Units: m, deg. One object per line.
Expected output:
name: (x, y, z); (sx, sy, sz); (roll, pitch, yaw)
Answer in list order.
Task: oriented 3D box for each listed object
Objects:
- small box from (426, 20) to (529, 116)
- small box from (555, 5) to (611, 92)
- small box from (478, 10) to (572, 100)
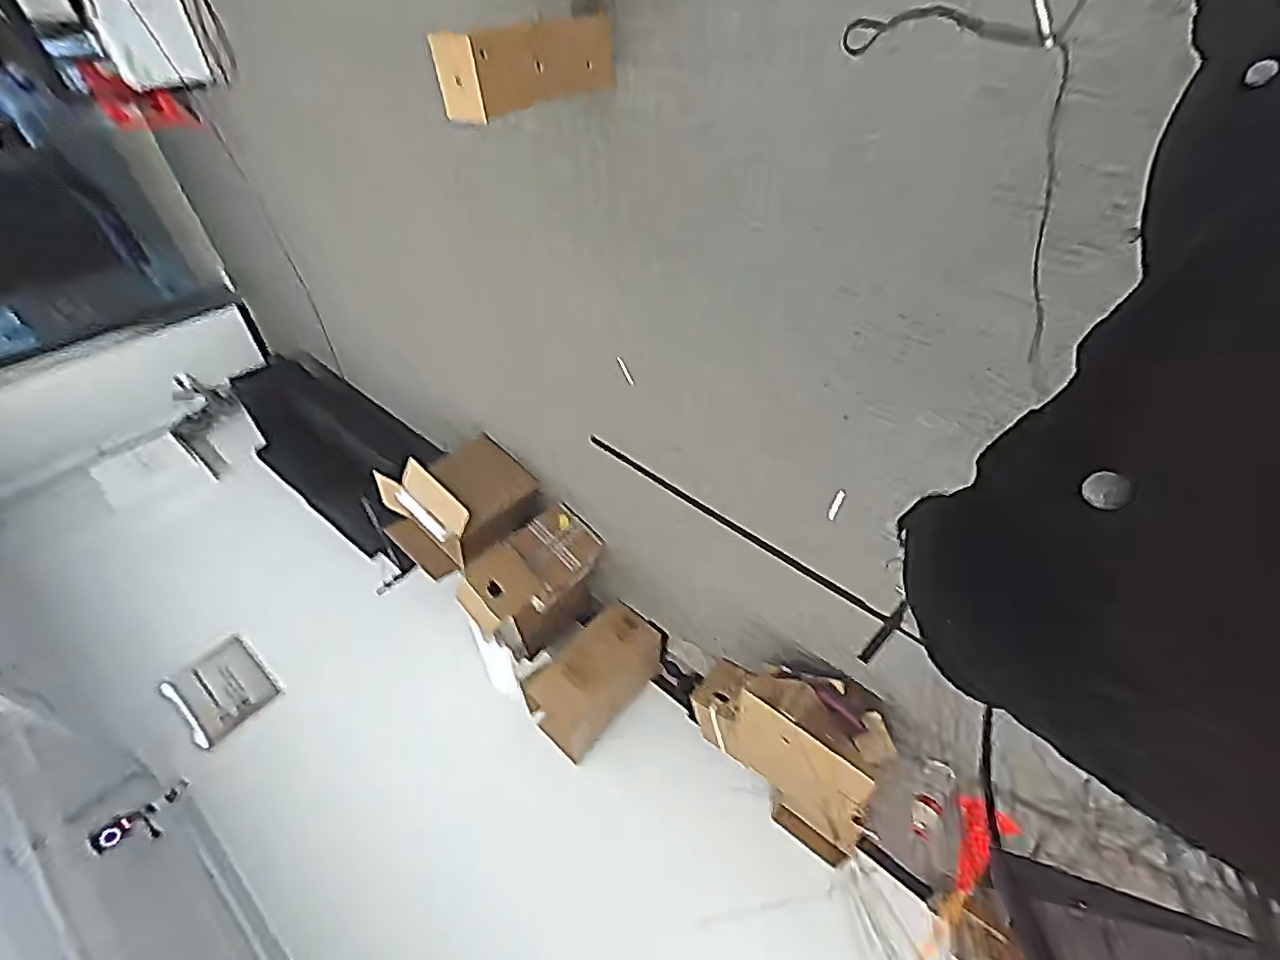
small box: (-0.404, -1.054, 1.380); (0.168, 0.176, 0.179); (27, 141, 29)
small box: (-0.198, -1.238, 1.552); (0.168, 0.176, 0.179); (26, 141, 30)
small box: (-0.302, -1.151, 1.462); (0.168, 0.176, 0.179); (26, 140, 29)
